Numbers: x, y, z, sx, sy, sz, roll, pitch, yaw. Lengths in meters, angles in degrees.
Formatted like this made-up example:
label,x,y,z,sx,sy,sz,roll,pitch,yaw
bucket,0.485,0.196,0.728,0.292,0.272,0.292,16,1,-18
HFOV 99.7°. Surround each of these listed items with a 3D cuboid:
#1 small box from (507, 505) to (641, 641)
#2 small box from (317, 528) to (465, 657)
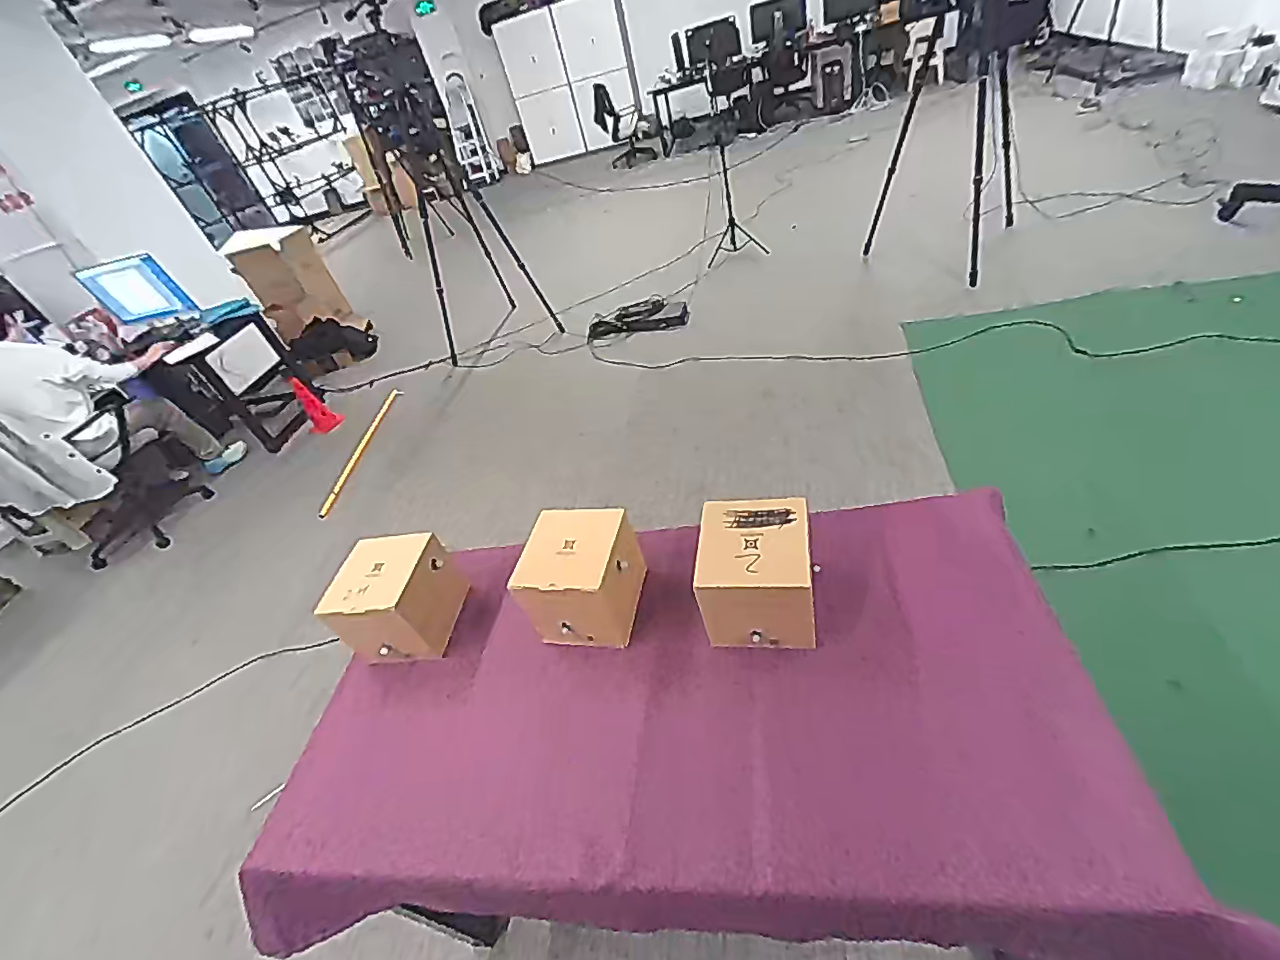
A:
label,x,y,z,sx,sy,sz,roll,pitch,yaw
small box,-0.104,0.163,0.966,0.168,0.176,0.179,-2,44,19
small box,-0.461,0.217,1.038,0.168,0.176,0.179,-7,42,14
